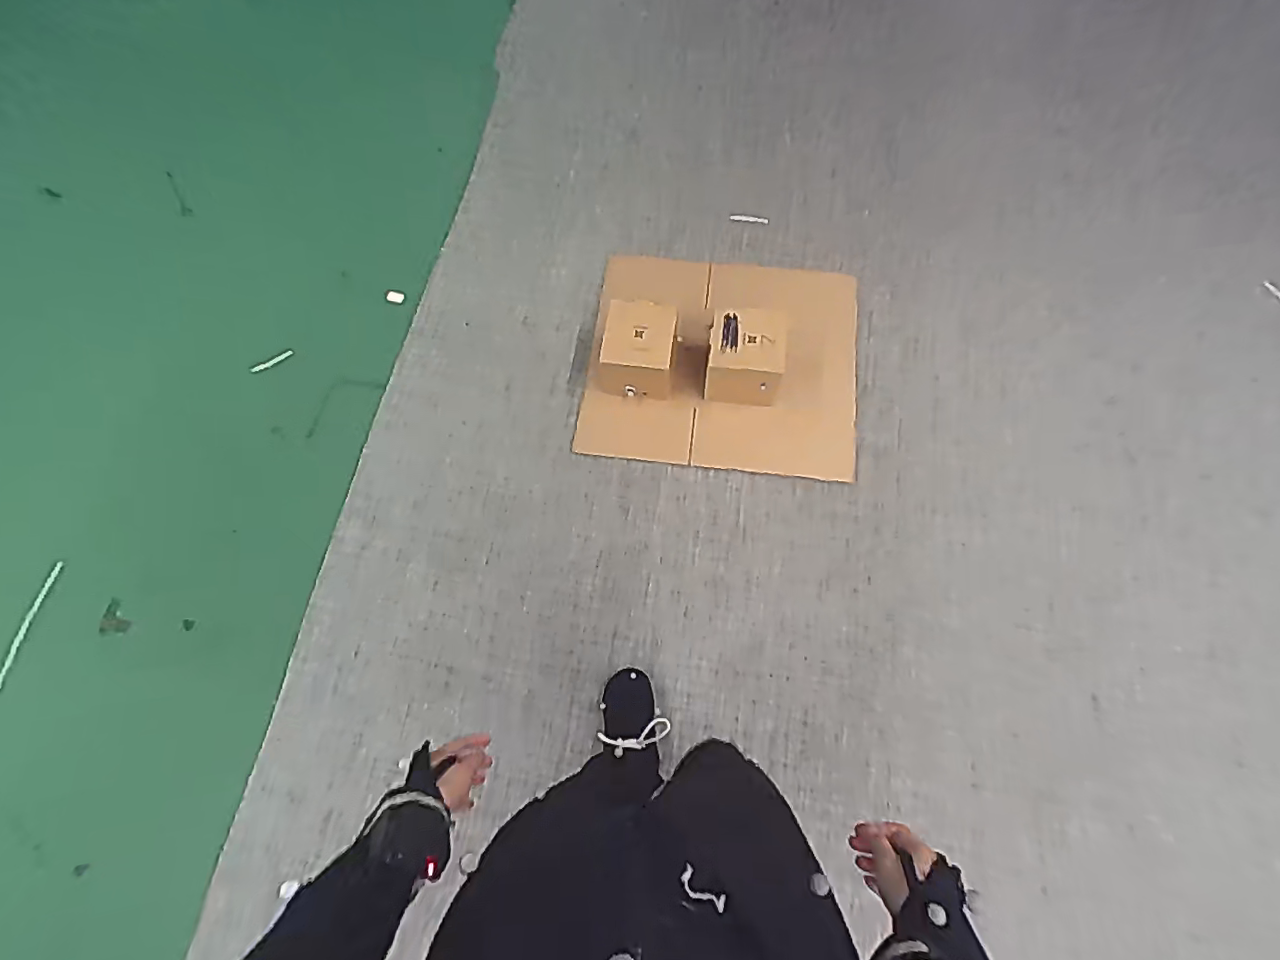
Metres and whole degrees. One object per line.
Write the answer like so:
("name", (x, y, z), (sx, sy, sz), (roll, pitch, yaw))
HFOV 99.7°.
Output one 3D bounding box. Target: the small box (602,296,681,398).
("small box", (0.007, -0.324, 1.338), (0.168, 0.176, 0.179), (7, 74, 5))
